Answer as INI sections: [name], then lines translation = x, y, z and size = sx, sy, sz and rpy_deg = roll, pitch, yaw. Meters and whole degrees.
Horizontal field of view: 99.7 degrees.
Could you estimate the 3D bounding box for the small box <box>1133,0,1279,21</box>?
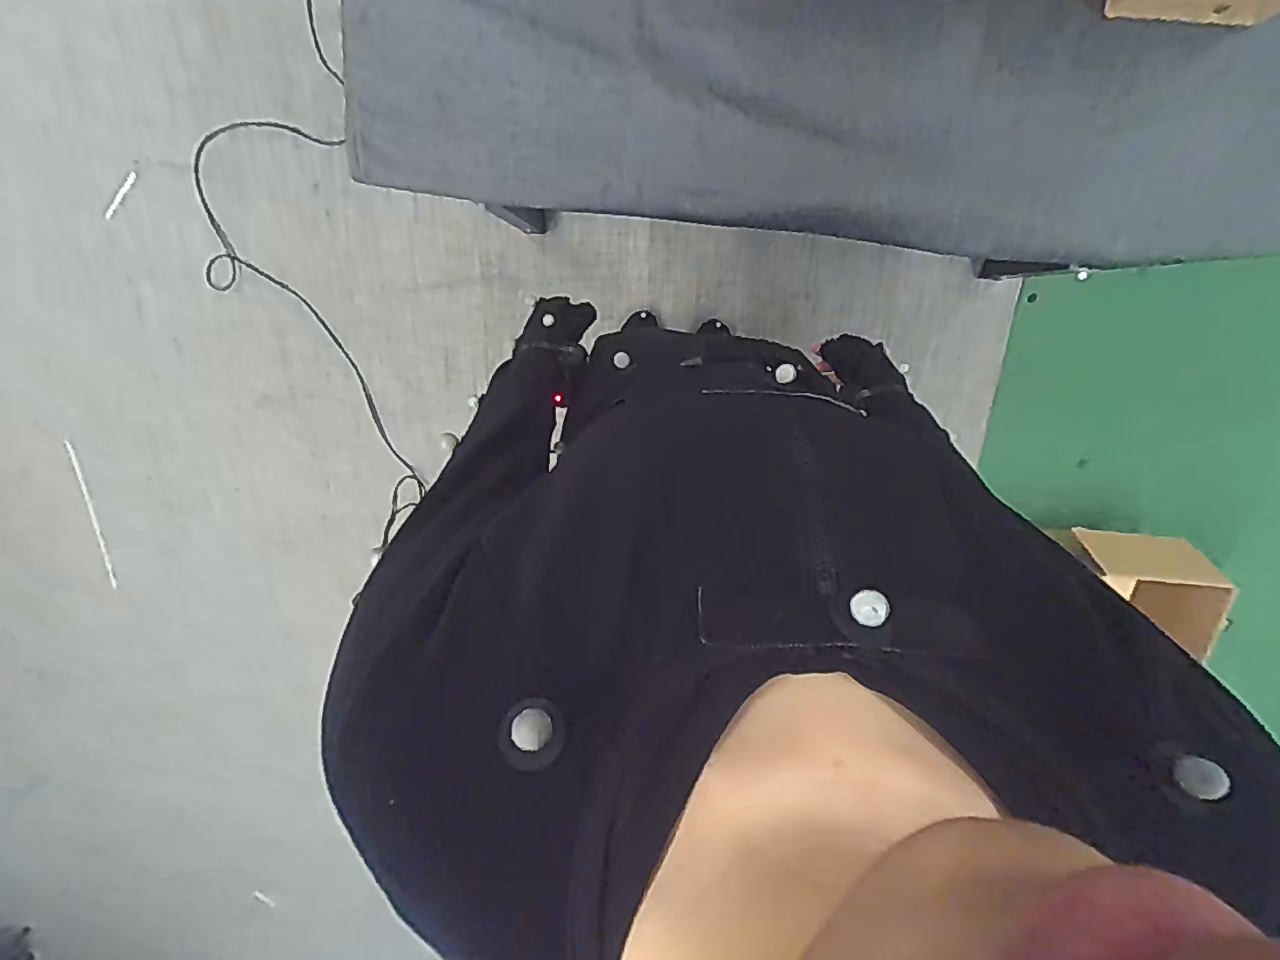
[small box]
translation = 0.576, -0.538, 0.464
size = 0.168, 0.176, 0.179
rpy_deg = 4, 107, 1
